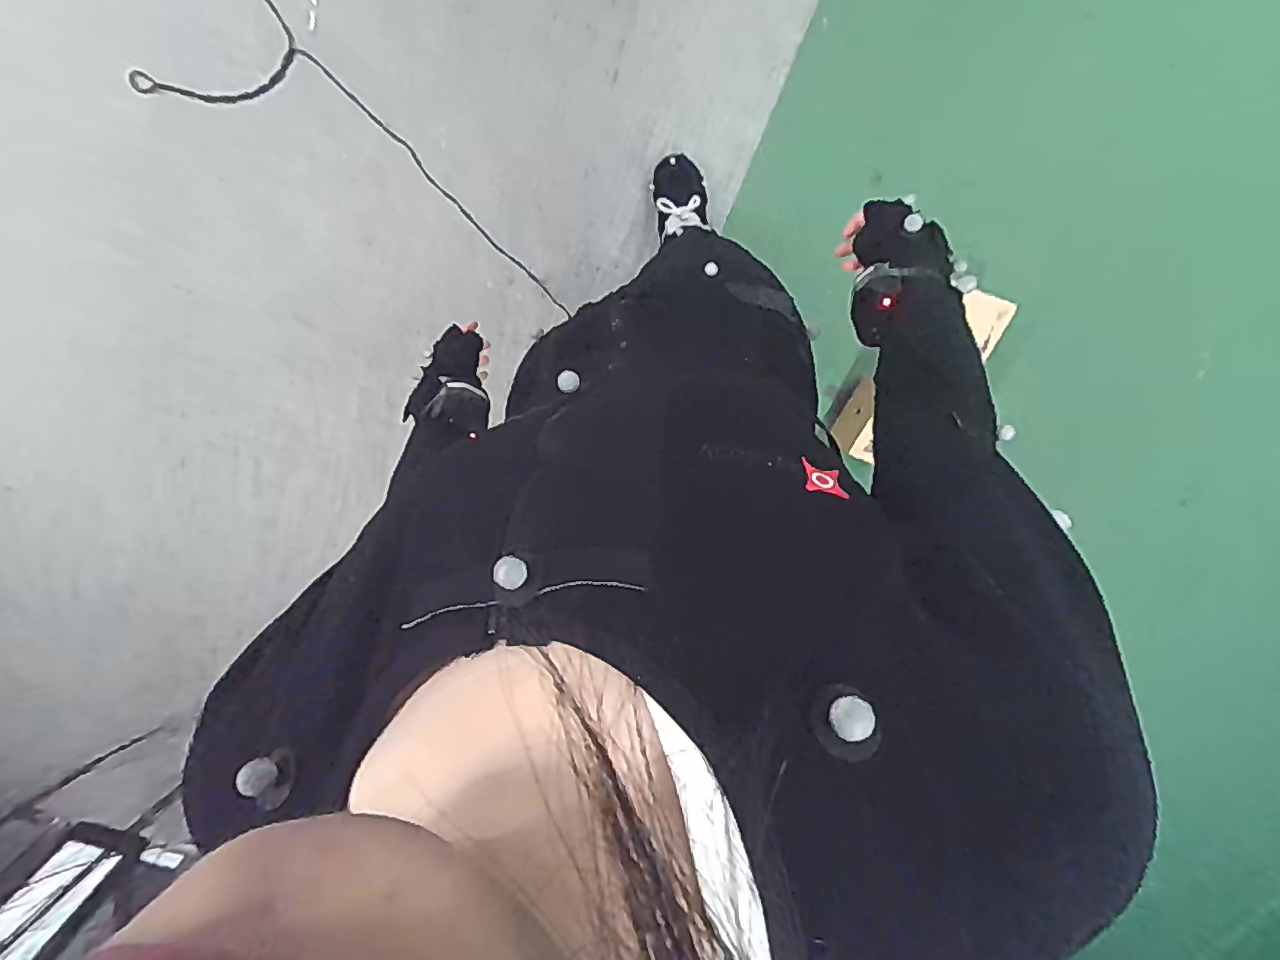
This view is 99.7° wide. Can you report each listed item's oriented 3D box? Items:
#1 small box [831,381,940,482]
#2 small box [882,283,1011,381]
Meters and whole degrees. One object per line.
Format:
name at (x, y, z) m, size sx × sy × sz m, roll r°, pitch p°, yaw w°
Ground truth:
small box at (0.609, -0.128, 1.375) m, size 0.168 × 0.176 × 0.179 m, roll 22°, pitch 112°, yaw -7°
small box at (0.706, -0.353, 1.272) m, size 0.179 × 0.176 × 0.168 m, roll 19°, pitch 113°, yaw -4°
